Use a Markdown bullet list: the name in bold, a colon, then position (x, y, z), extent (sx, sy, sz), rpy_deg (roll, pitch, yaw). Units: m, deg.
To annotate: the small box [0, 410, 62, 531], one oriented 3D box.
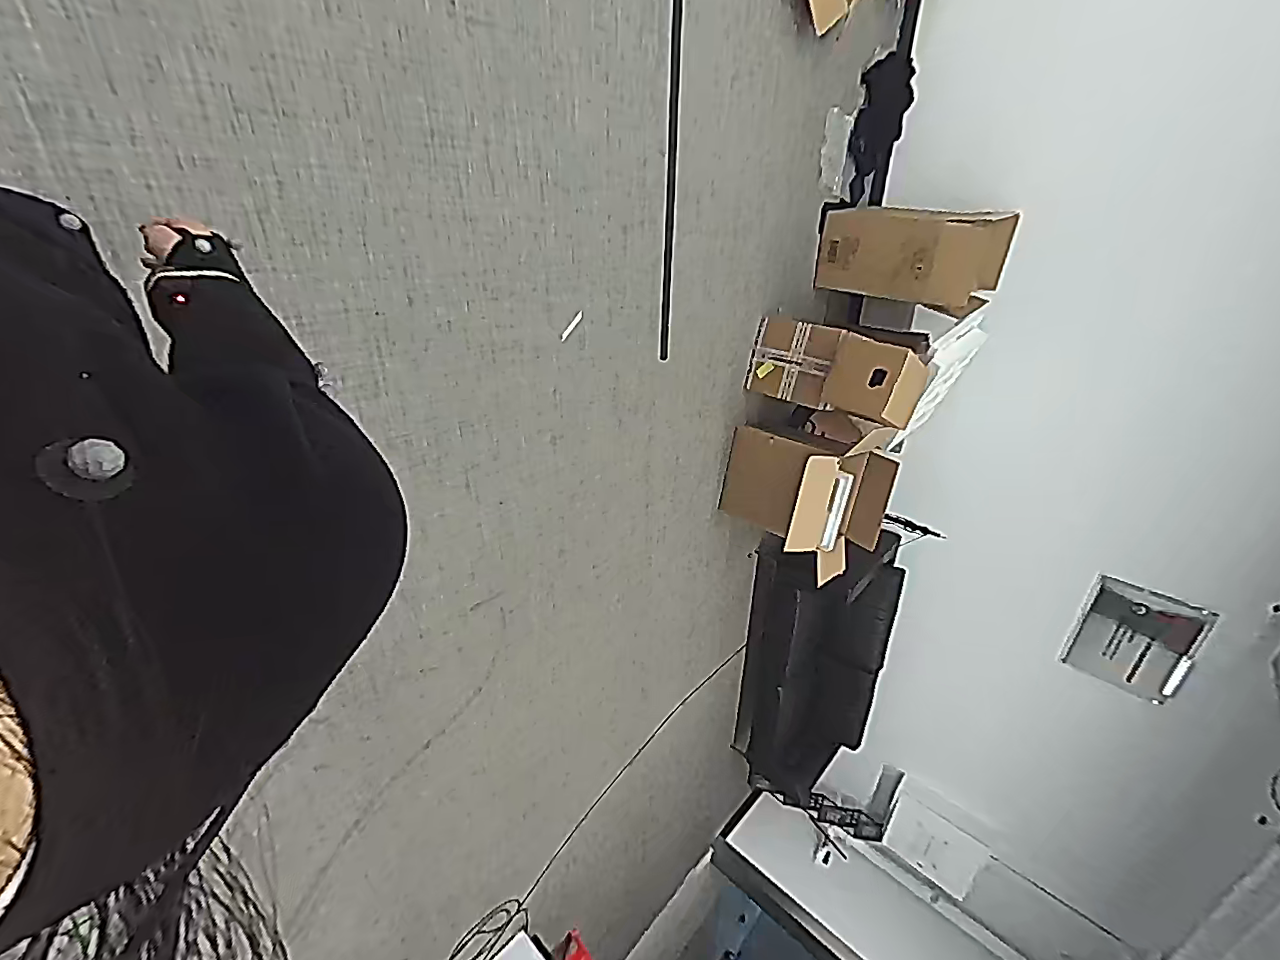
- **small box**: position (-1.148, -0.013, 0.919), extent (0.168, 0.176, 0.179), rpy_deg (-35, 133, -36)
